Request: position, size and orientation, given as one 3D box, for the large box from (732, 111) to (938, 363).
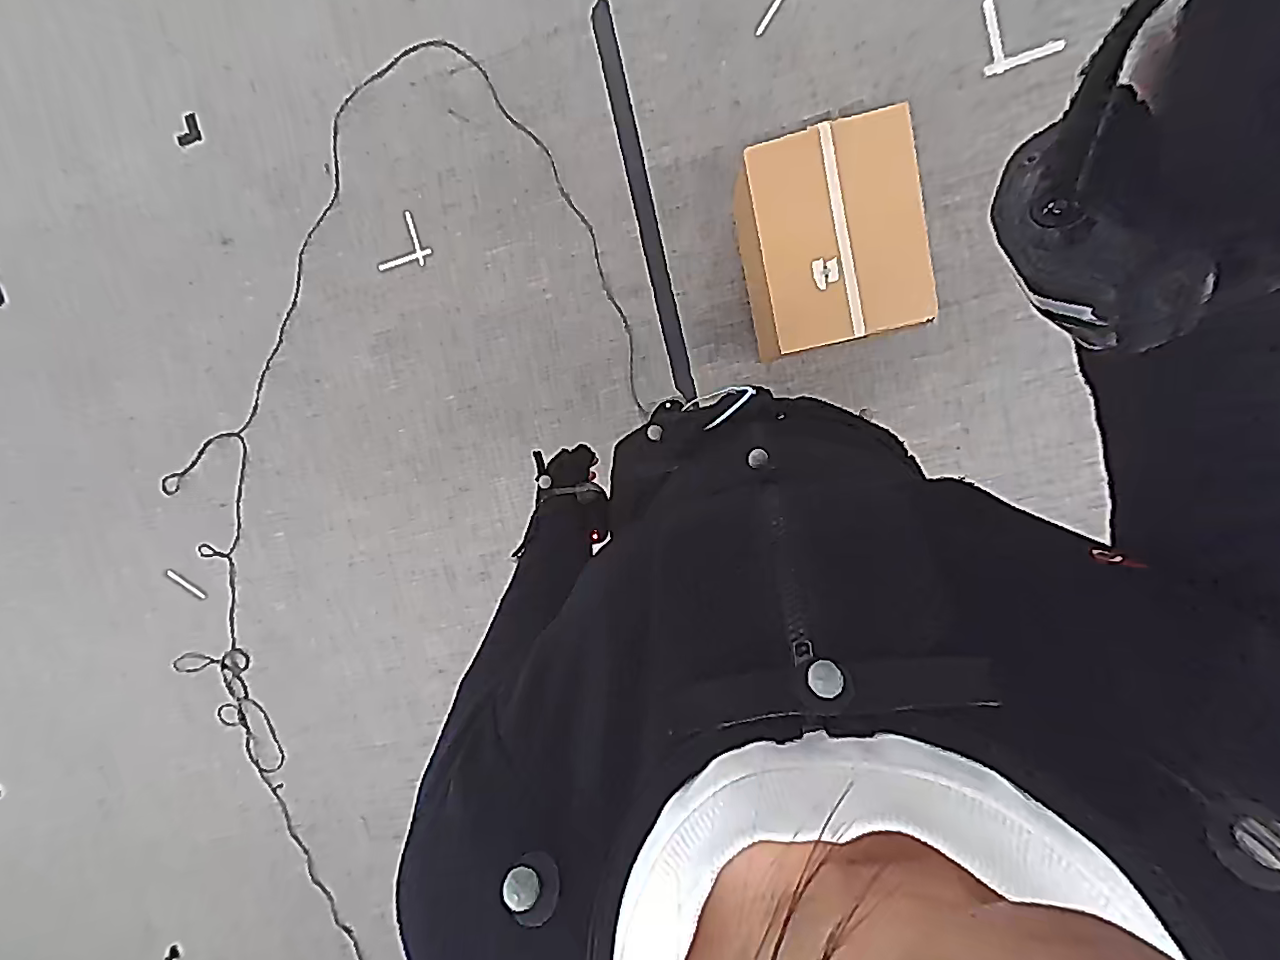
[{"bbox_3d":[0.408,-0.499,1.208,0.320,0.320,0.408,-12,98,8],"label":"large box"}]
